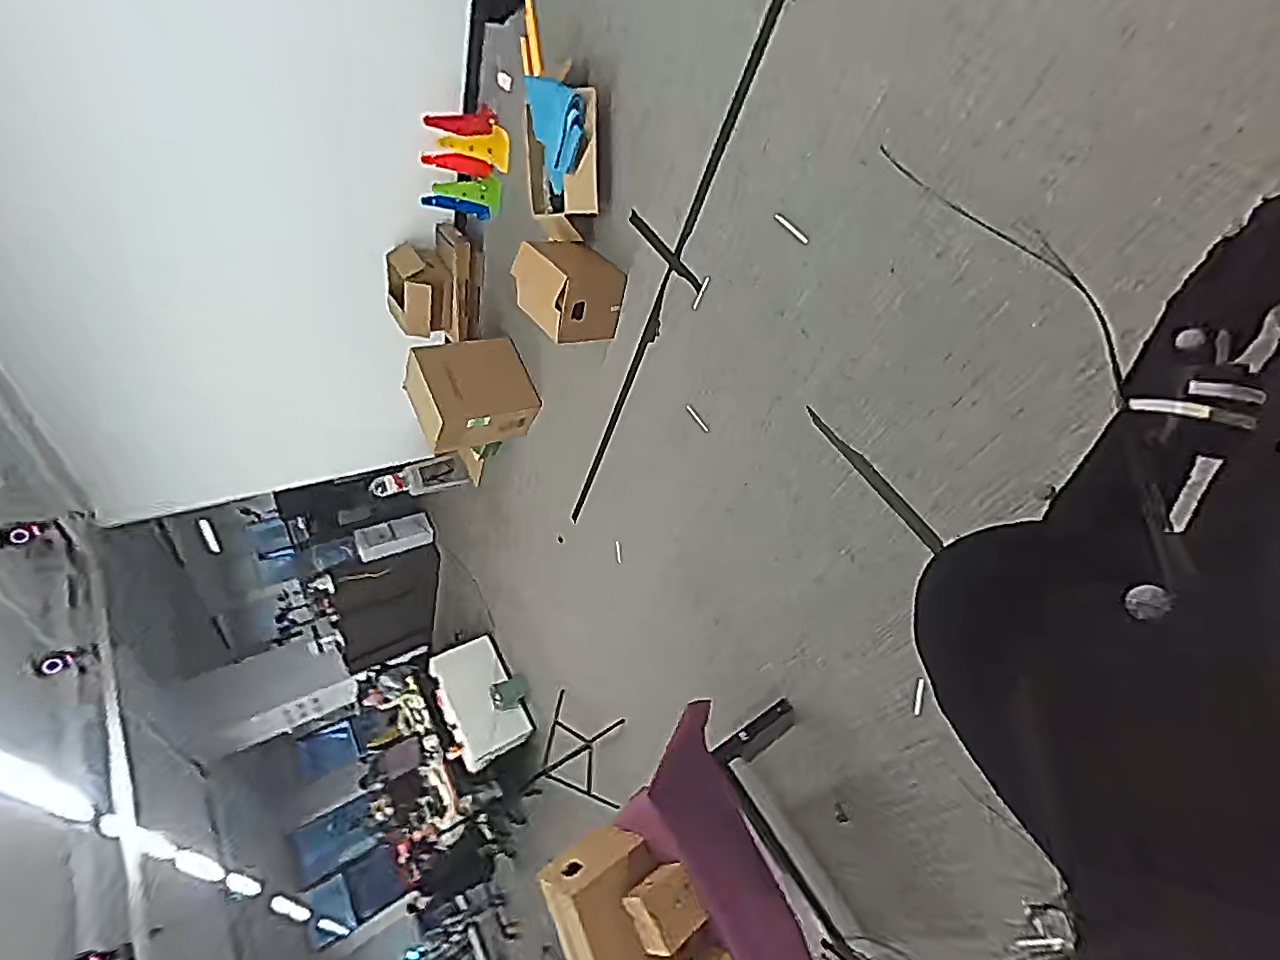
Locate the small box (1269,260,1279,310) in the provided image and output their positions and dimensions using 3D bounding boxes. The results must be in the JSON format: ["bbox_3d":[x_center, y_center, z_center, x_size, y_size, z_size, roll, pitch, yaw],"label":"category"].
[{"bbox_3d":[0.607,-0.195,0.377,0.179,0.176,0.168,21,101,55],"label":"small box"}]

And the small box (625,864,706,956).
[{"bbox_3d":[0.084,1.348,1.702,0.168,0.176,0.179,57,143,24],"label":"small box"}]
